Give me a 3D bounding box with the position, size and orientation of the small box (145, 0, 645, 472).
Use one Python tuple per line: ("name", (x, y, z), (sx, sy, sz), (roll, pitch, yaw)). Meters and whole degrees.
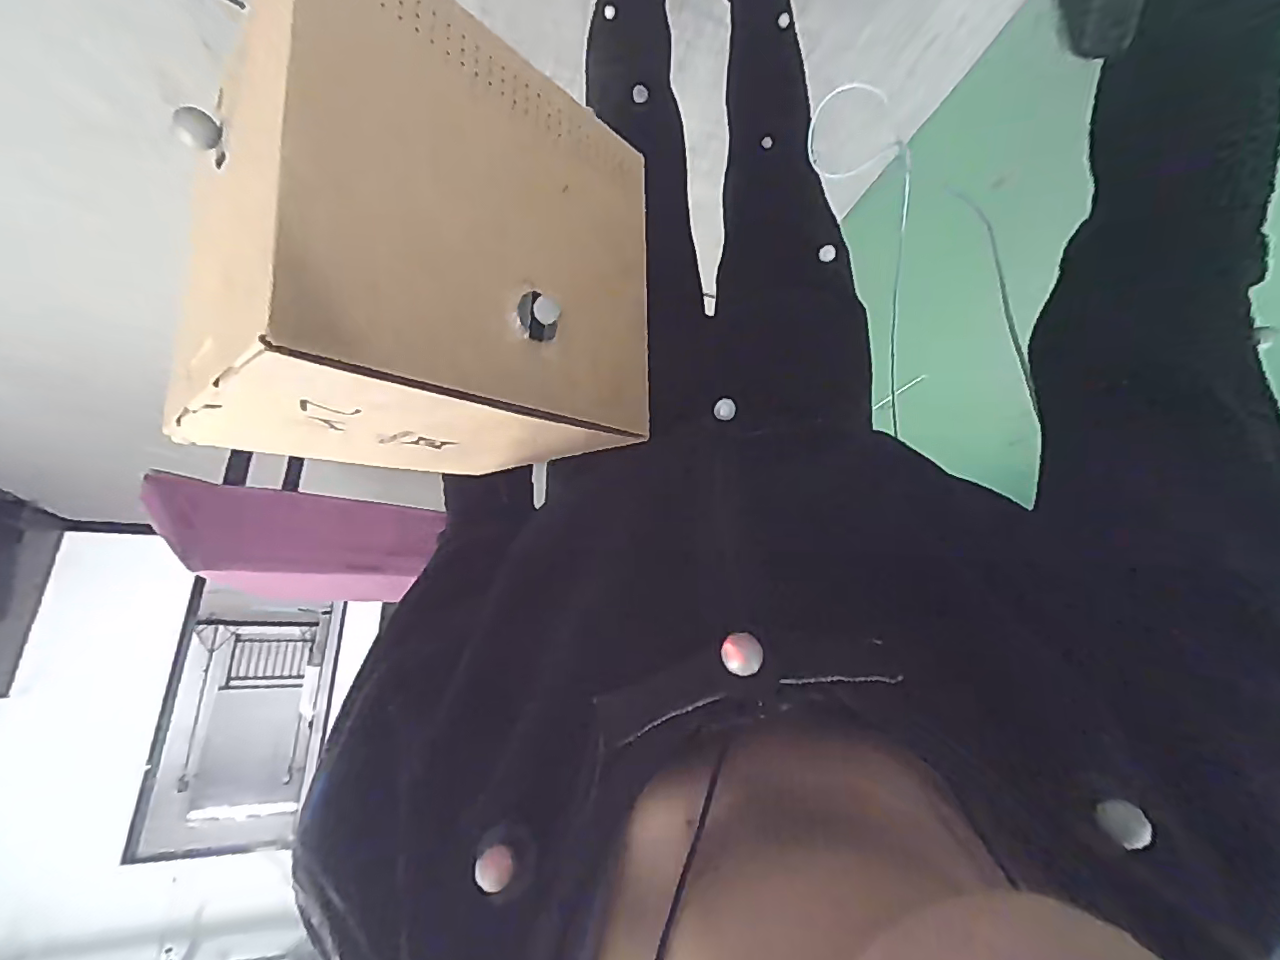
("small box", (-0.112, -0.105, 0.276), (0.168, 0.176, 0.179), (-9, 167, 39))
